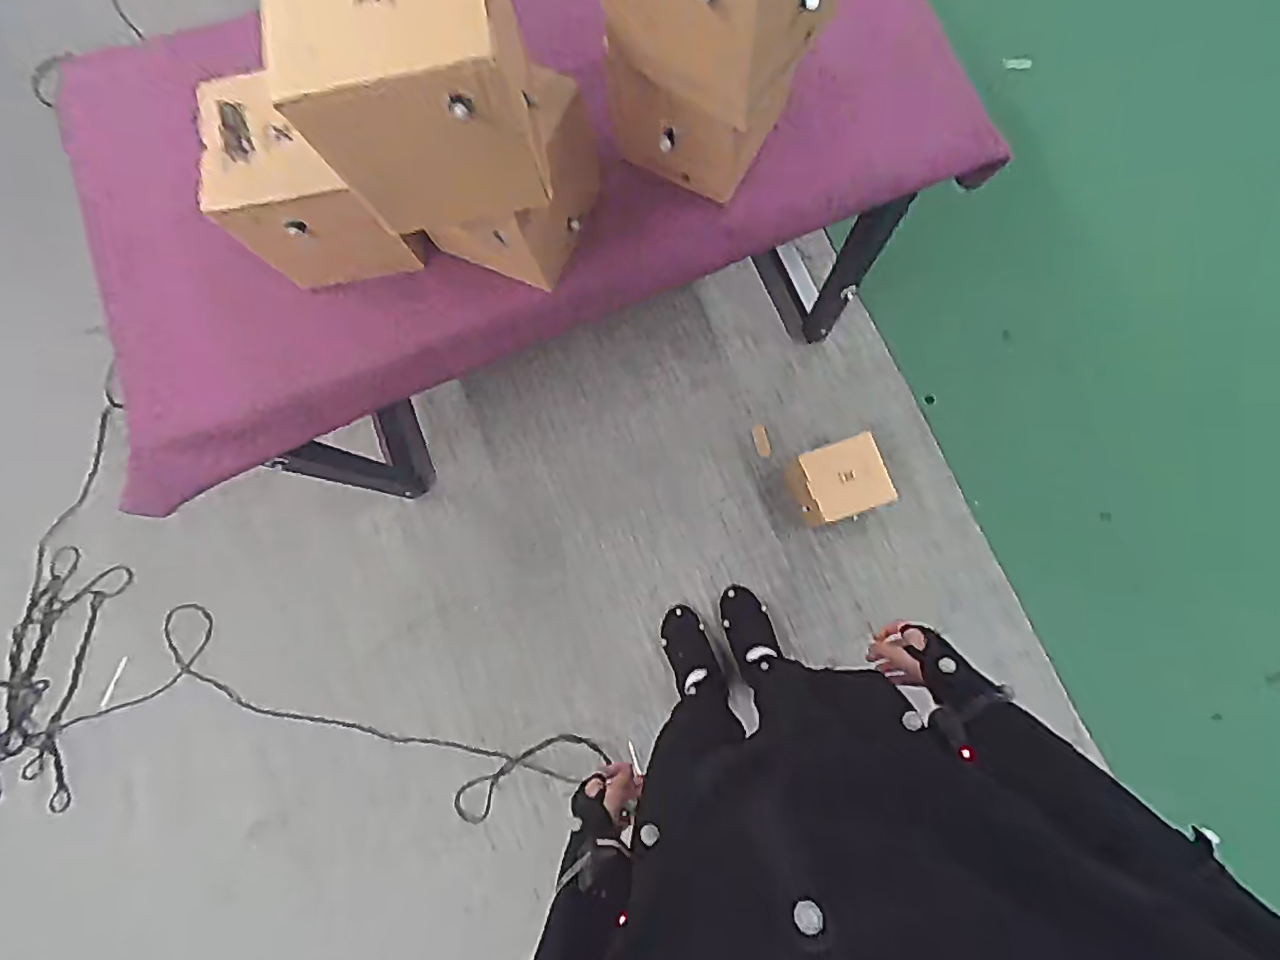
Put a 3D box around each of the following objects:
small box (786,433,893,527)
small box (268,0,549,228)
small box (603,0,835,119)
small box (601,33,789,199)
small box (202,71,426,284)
[{"bbox_3d":[0.463,0.008,1.290,0.179,0.176,0.168,-19,81,0],"label":"small box"},{"bbox_3d":[-0.195,-0.357,0.489,0.179,0.176,0.168,-10,81,2],"label":"small box"},{"bbox_3d":[0.077,-0.474,0.484,0.179,0.176,0.168,36,85,10],"label":"small box"},{"bbox_3d":[0.077,-0.485,0.653,0.168,0.176,0.179,29,85,8],"label":"small box"},{"bbox_3d":[-0.391,-0.365,0.670,0.179,0.176,0.168,-9,81,2],"label":"small box"}]
